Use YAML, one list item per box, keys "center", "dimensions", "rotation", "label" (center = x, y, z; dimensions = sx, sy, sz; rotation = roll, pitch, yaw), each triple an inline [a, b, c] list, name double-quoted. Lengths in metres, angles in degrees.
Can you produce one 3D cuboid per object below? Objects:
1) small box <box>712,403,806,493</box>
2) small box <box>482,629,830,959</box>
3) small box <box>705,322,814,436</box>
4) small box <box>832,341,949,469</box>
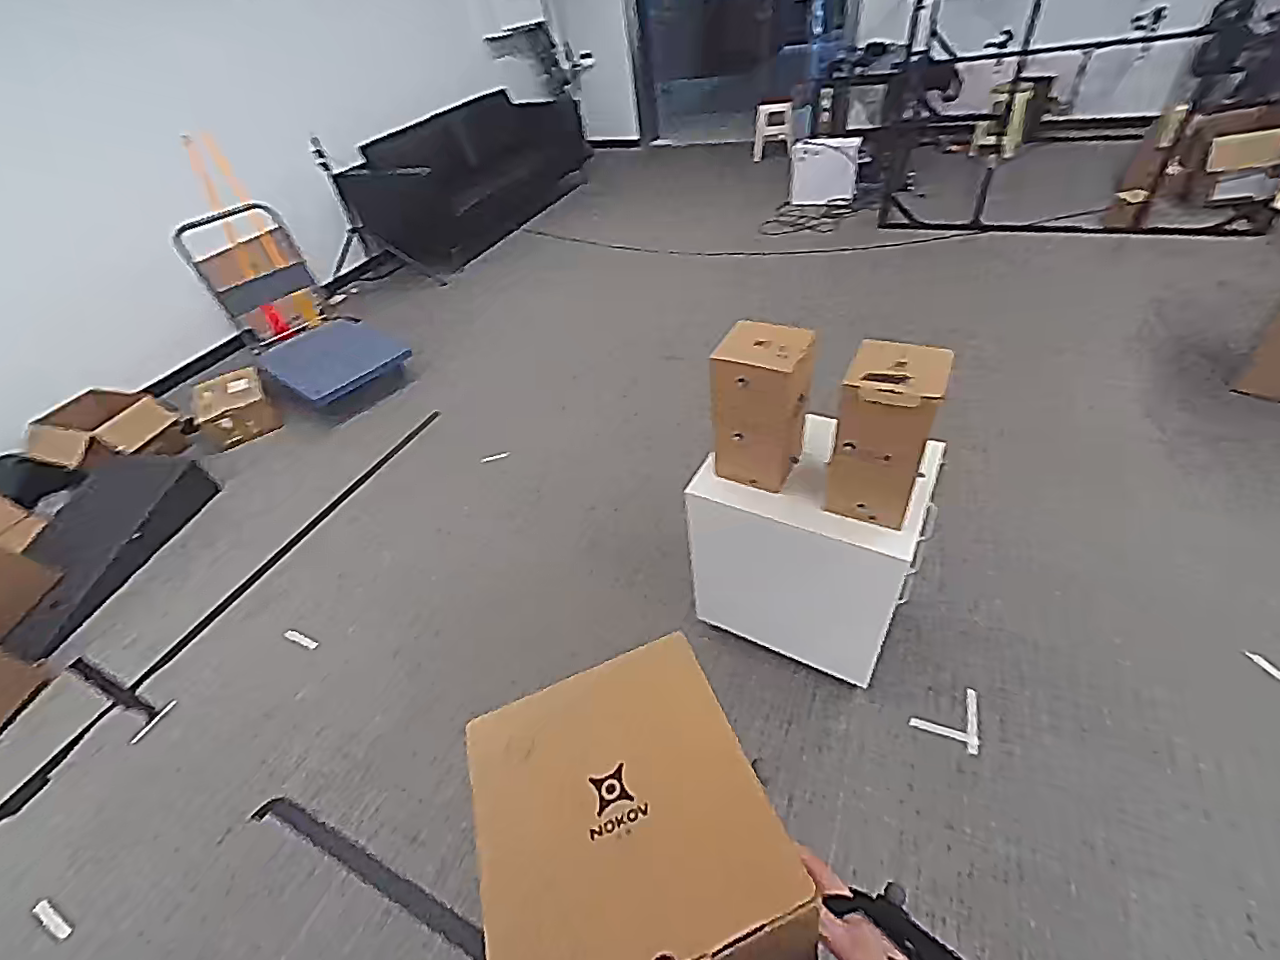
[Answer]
- center: [0.278, -0.099, 1.278]
  dimensions: [0.168, 0.176, 0.179]
  rotation: [18, 48, 27]
  label: "small box"
- center: [0.006, 0.243, 0.371]
  dimensions: [0.168, 0.176, 0.179]
  rotation: [-21, 40, -8]
  label: "small box"
- center: [0.256, -0.216, 1.163]
  dimensions: [0.179, 0.176, 0.168]
  rotation: [18, 50, 26]
  label: "small box"
- center: [0.480, -0.146, 1.050]
  dimensions: [0.168, 0.176, 0.179]
  rotation: [16, 48, 25]
  label: "small box"
